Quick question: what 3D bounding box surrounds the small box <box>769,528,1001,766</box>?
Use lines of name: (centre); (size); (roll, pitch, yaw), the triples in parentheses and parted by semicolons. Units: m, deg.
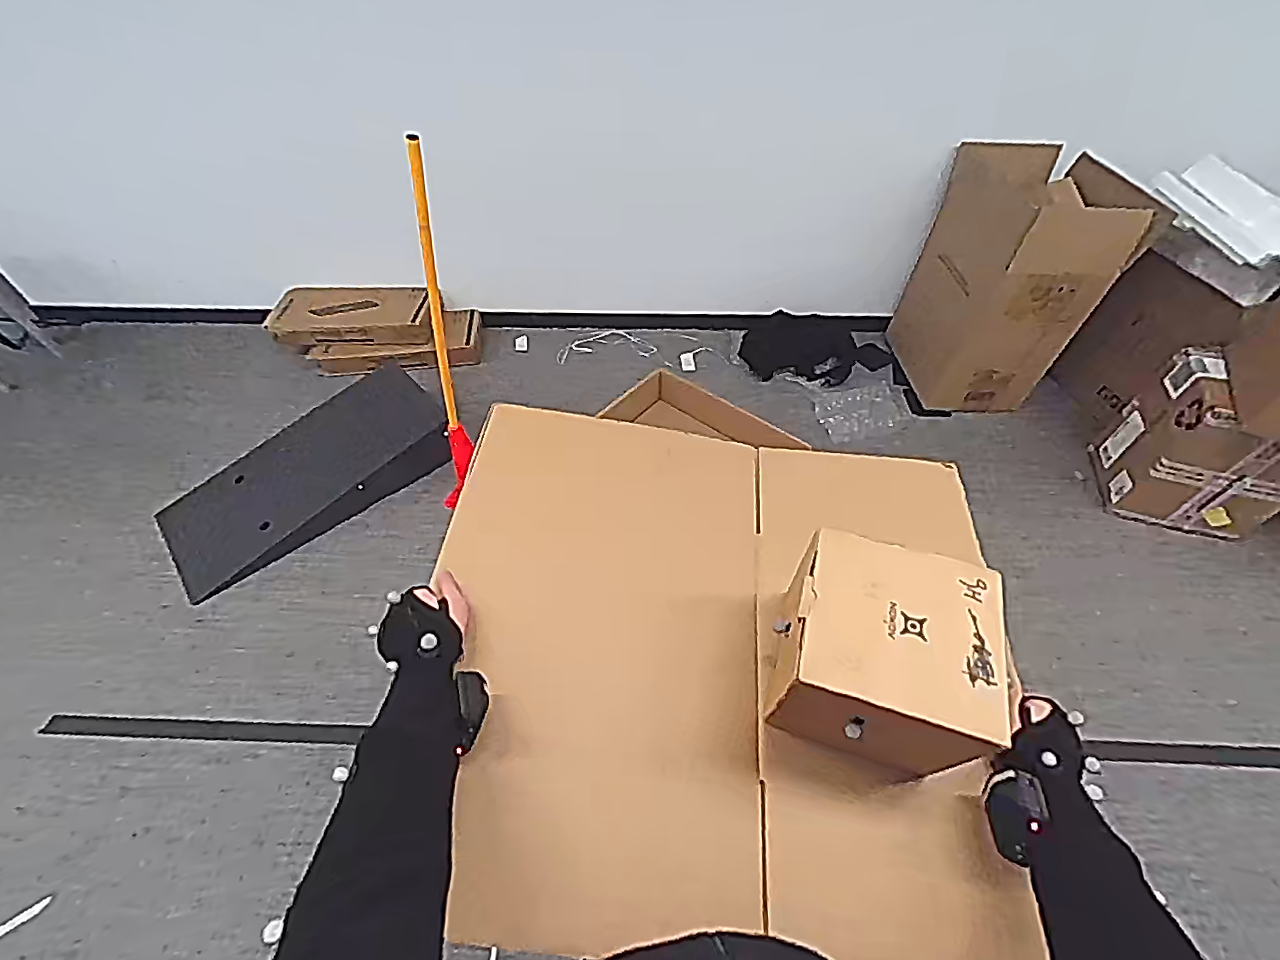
small box: (0.244, 0.180, 0.570); (0.179, 0.176, 0.168); (15, 56, 13)
